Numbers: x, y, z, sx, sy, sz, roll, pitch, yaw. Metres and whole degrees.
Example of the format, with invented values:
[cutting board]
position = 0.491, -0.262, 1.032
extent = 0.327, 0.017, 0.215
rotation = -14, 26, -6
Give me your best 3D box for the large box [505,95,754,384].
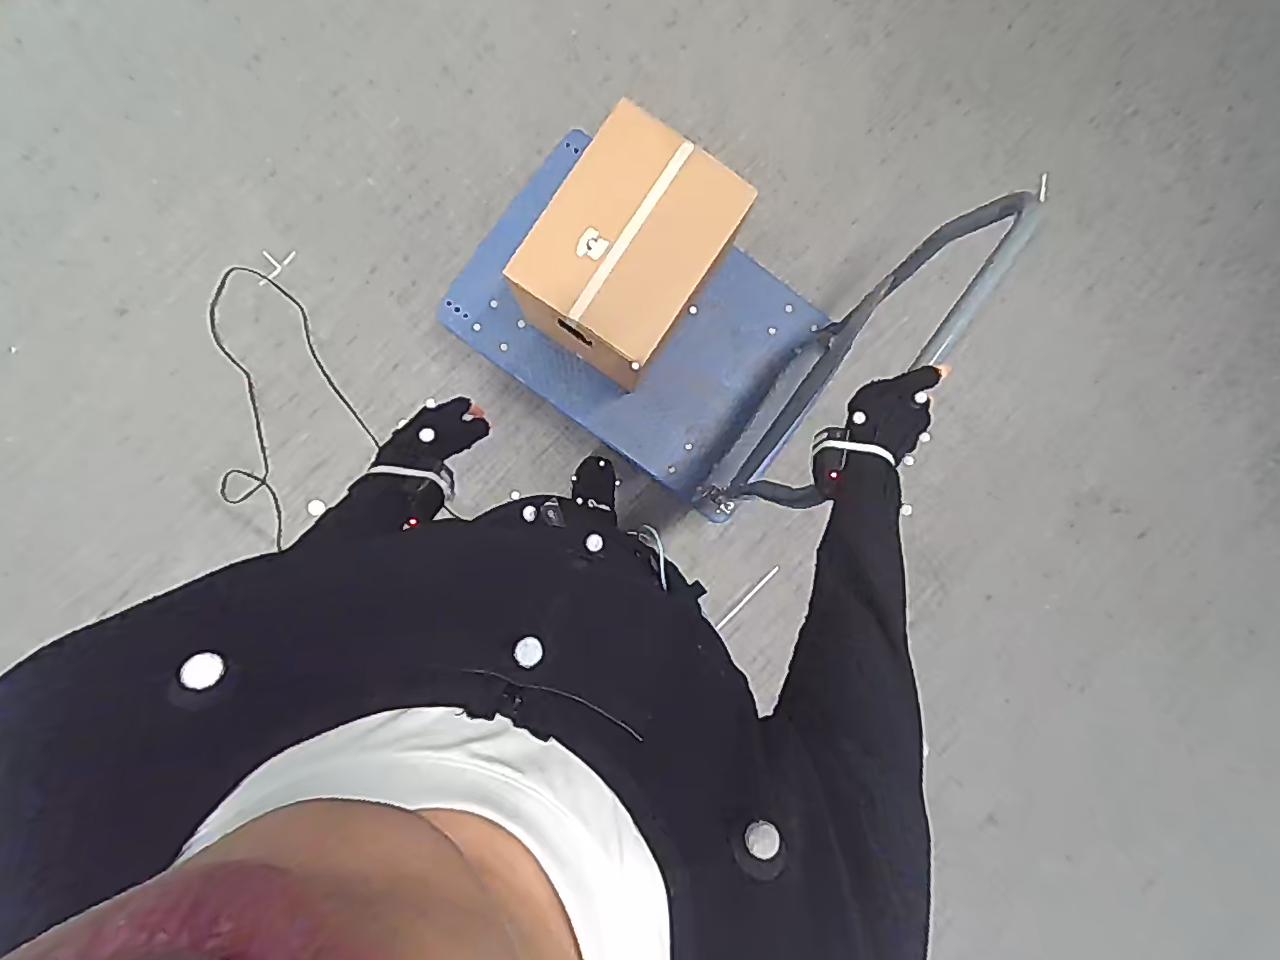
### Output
[large box]
position = -0.025, -0.470, 1.151
extent = 0.320, 0.320, 0.408
rotation = 34, 89, -3
